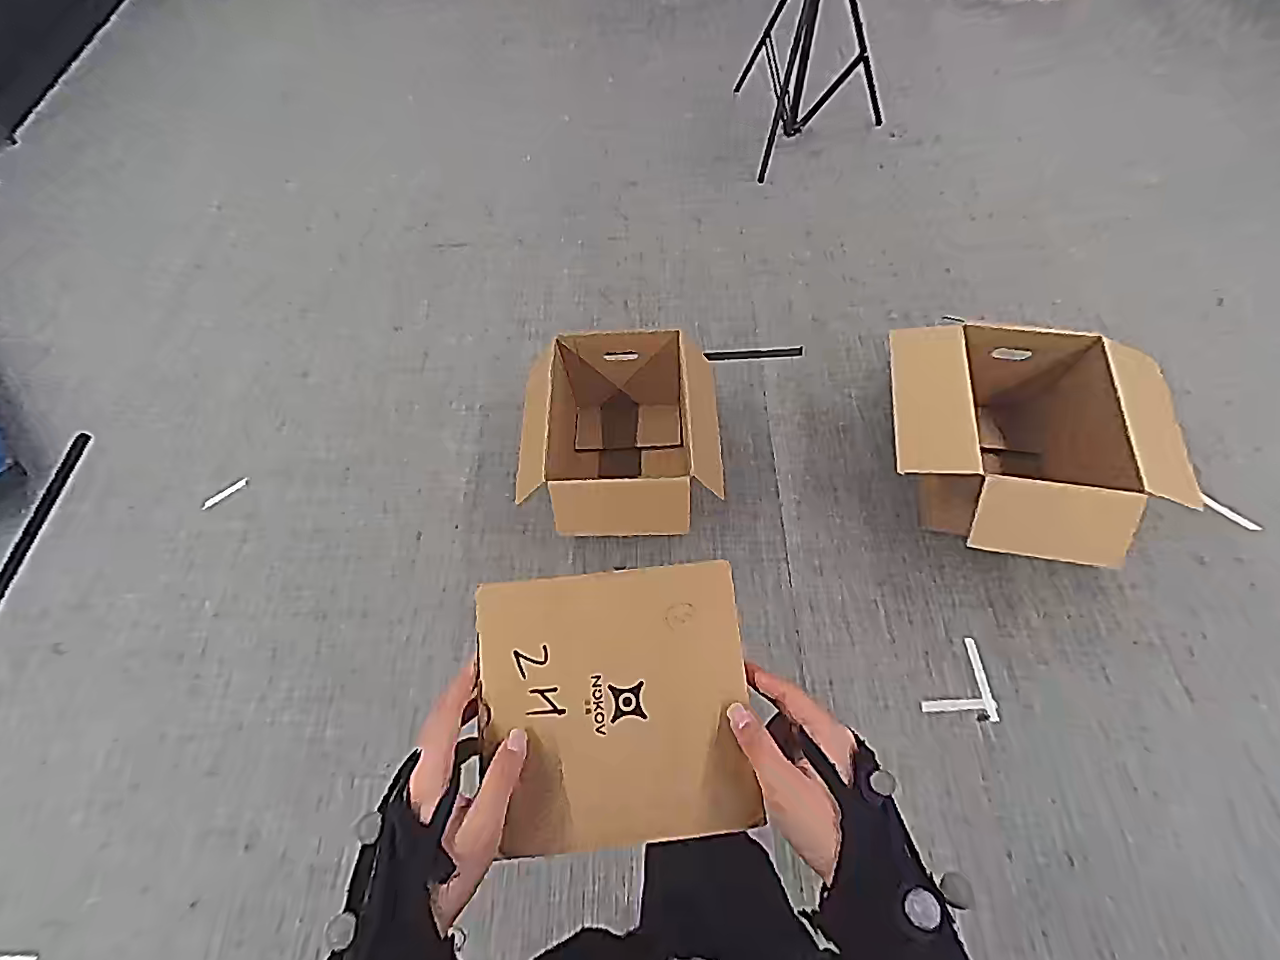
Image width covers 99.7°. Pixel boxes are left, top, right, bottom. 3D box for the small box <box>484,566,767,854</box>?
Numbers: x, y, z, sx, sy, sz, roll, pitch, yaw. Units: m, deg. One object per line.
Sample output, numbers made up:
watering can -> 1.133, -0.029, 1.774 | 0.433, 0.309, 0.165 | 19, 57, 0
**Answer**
small box -> -0.015, 0.161, 0.429 | 0.179, 0.176, 0.168 | -5, 76, -2
